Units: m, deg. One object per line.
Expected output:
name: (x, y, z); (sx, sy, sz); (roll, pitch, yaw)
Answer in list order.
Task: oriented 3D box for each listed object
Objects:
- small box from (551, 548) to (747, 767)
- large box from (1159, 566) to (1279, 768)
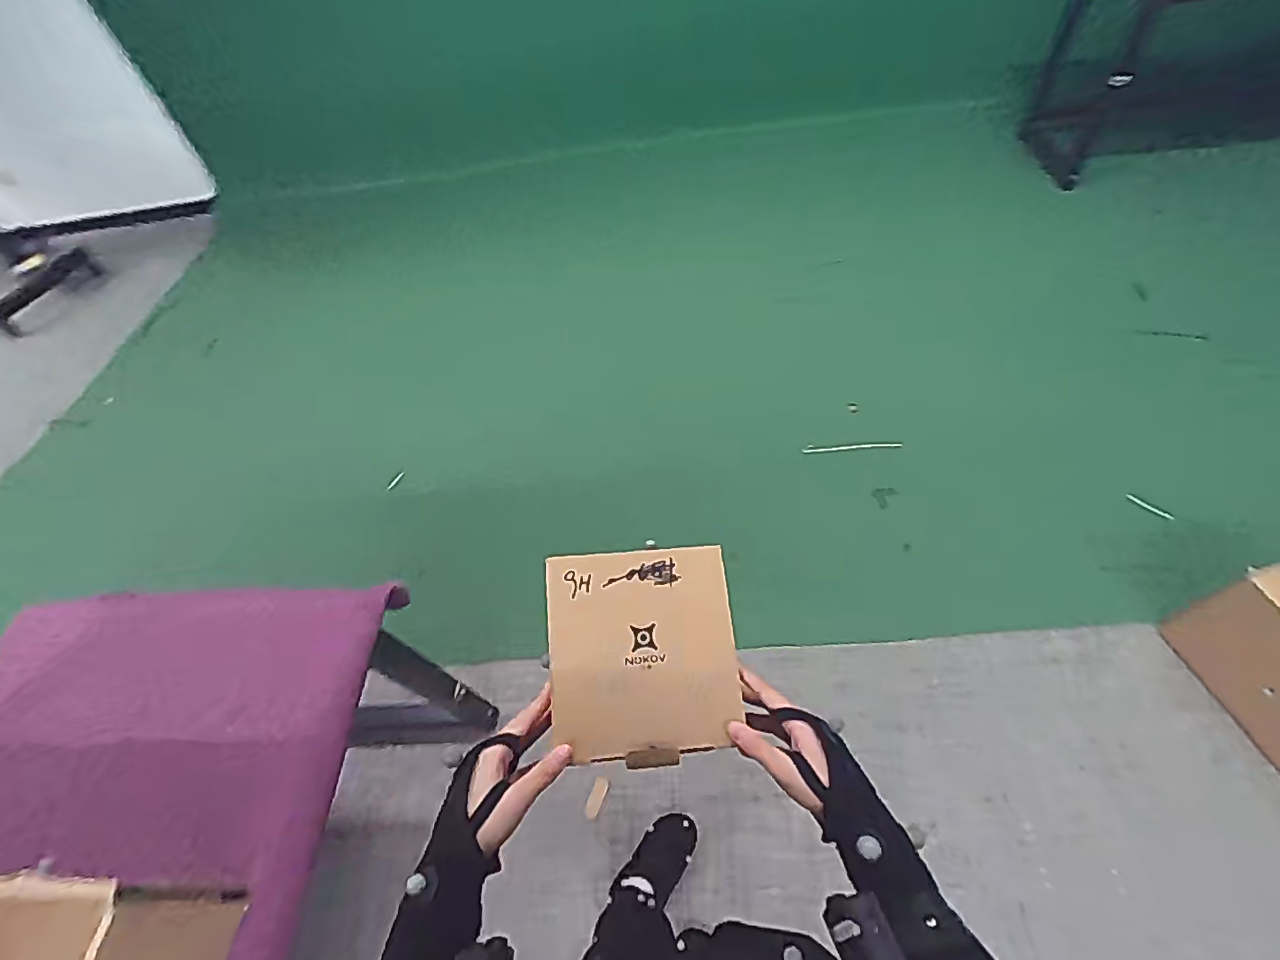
small box: (0.000, 0.174, 0.549); (0.168, 0.176, 0.179); (-3, 71, -6)
large box: (1.473, 0.401, 1.130); (0.320, 0.320, 0.408); (-16, 52, -4)
